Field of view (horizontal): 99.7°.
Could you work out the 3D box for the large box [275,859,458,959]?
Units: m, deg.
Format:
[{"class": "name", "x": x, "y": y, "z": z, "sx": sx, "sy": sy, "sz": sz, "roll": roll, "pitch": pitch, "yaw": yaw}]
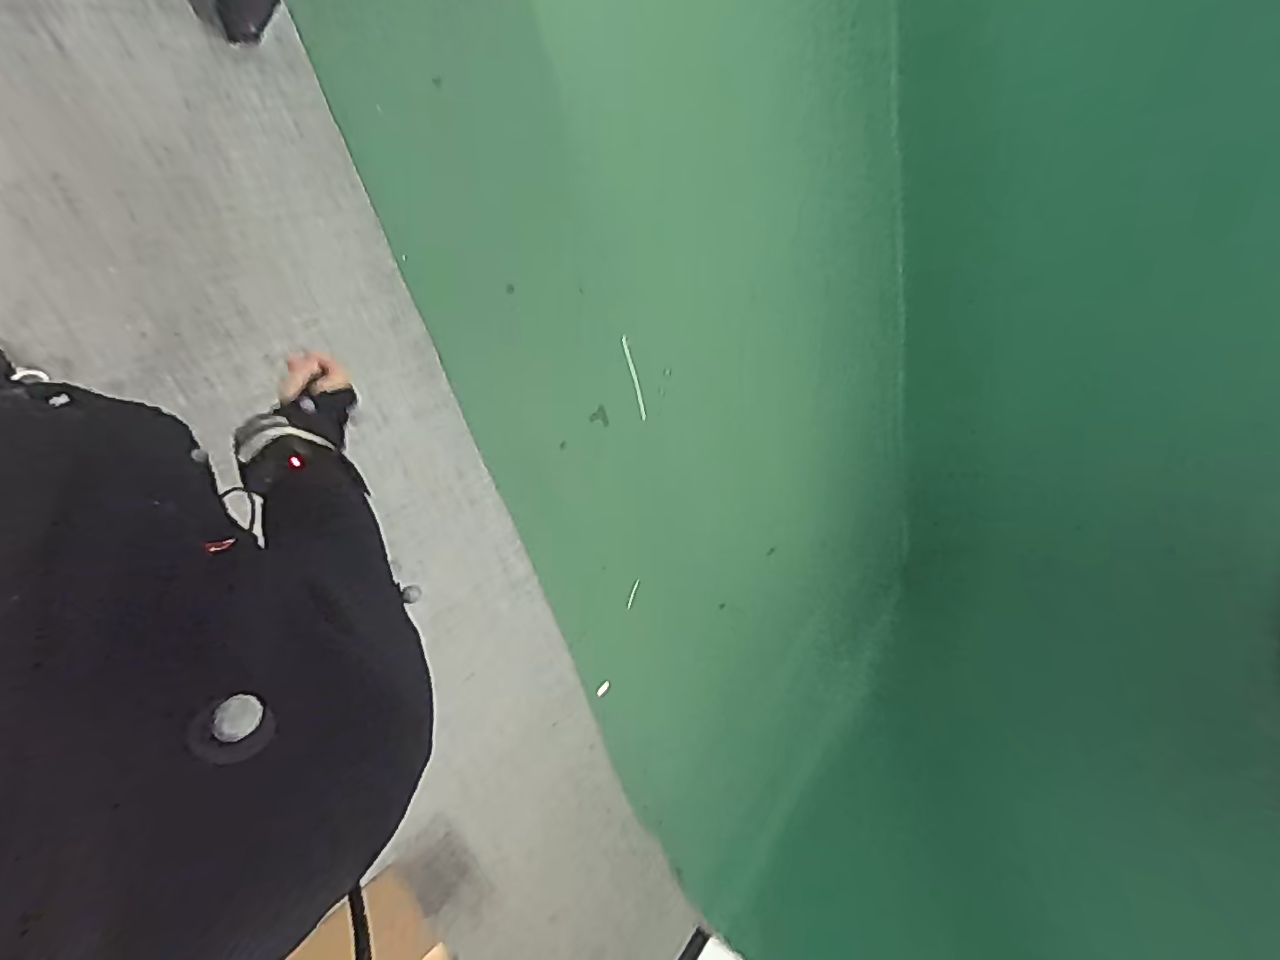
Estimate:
[{"class": "large box", "x": -0.707, "y": 1.311, "z": 1.378, "sx": 0.408, "sy": 0.320, "sz": 0.320, "roll": -30, "pitch": 119, "yaw": -37}]
